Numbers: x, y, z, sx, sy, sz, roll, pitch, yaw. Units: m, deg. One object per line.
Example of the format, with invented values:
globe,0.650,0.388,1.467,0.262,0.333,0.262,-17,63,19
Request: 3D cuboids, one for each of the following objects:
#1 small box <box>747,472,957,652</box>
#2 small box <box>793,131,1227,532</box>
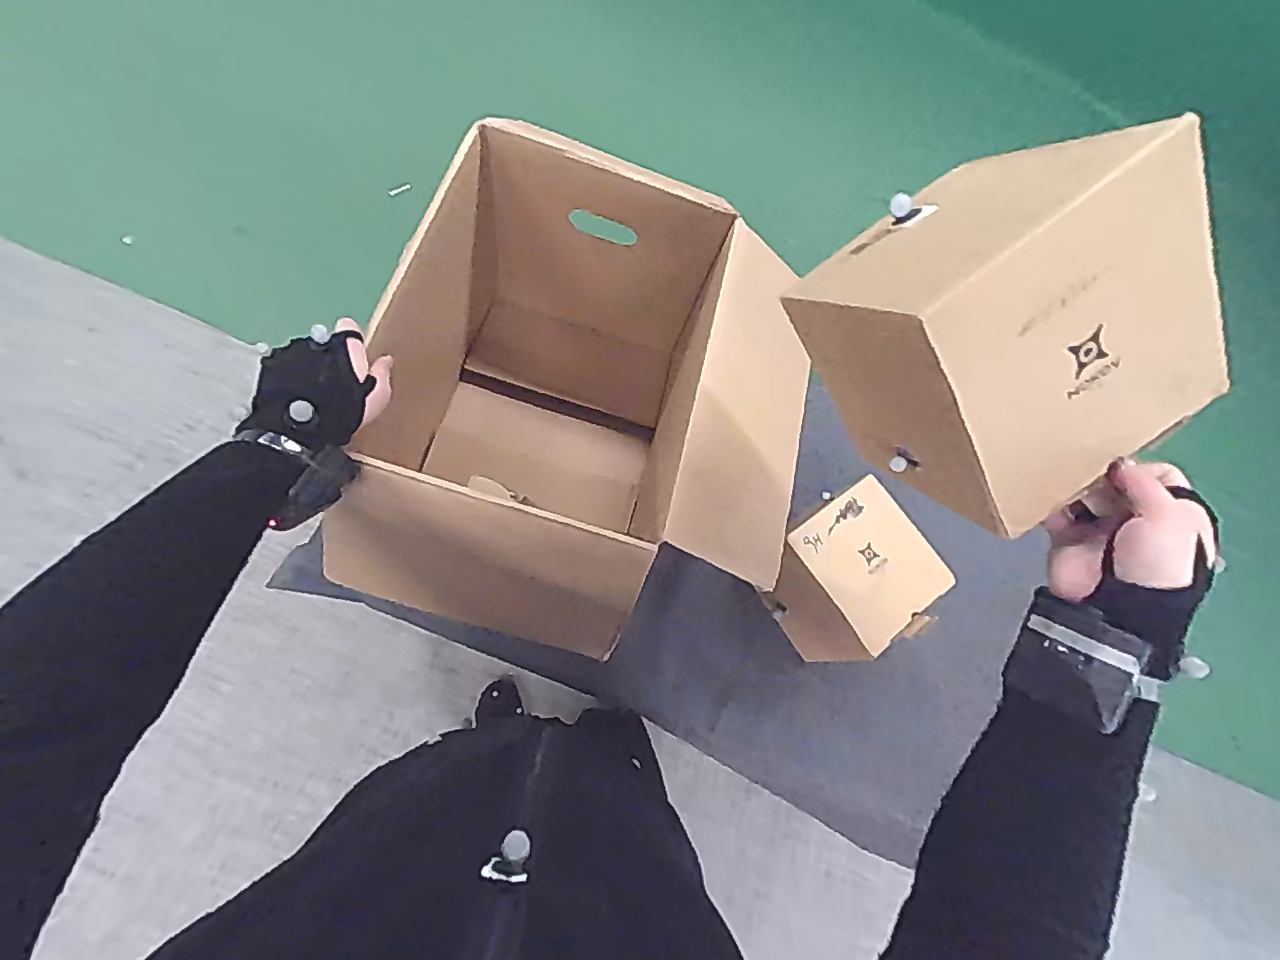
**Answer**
small box,0.282,0.118,0.756,0.168,0.176,0.179,-30,80,-17
small box,0.244,-0.102,0.388,0.168,0.176,0.179,-37,113,3
